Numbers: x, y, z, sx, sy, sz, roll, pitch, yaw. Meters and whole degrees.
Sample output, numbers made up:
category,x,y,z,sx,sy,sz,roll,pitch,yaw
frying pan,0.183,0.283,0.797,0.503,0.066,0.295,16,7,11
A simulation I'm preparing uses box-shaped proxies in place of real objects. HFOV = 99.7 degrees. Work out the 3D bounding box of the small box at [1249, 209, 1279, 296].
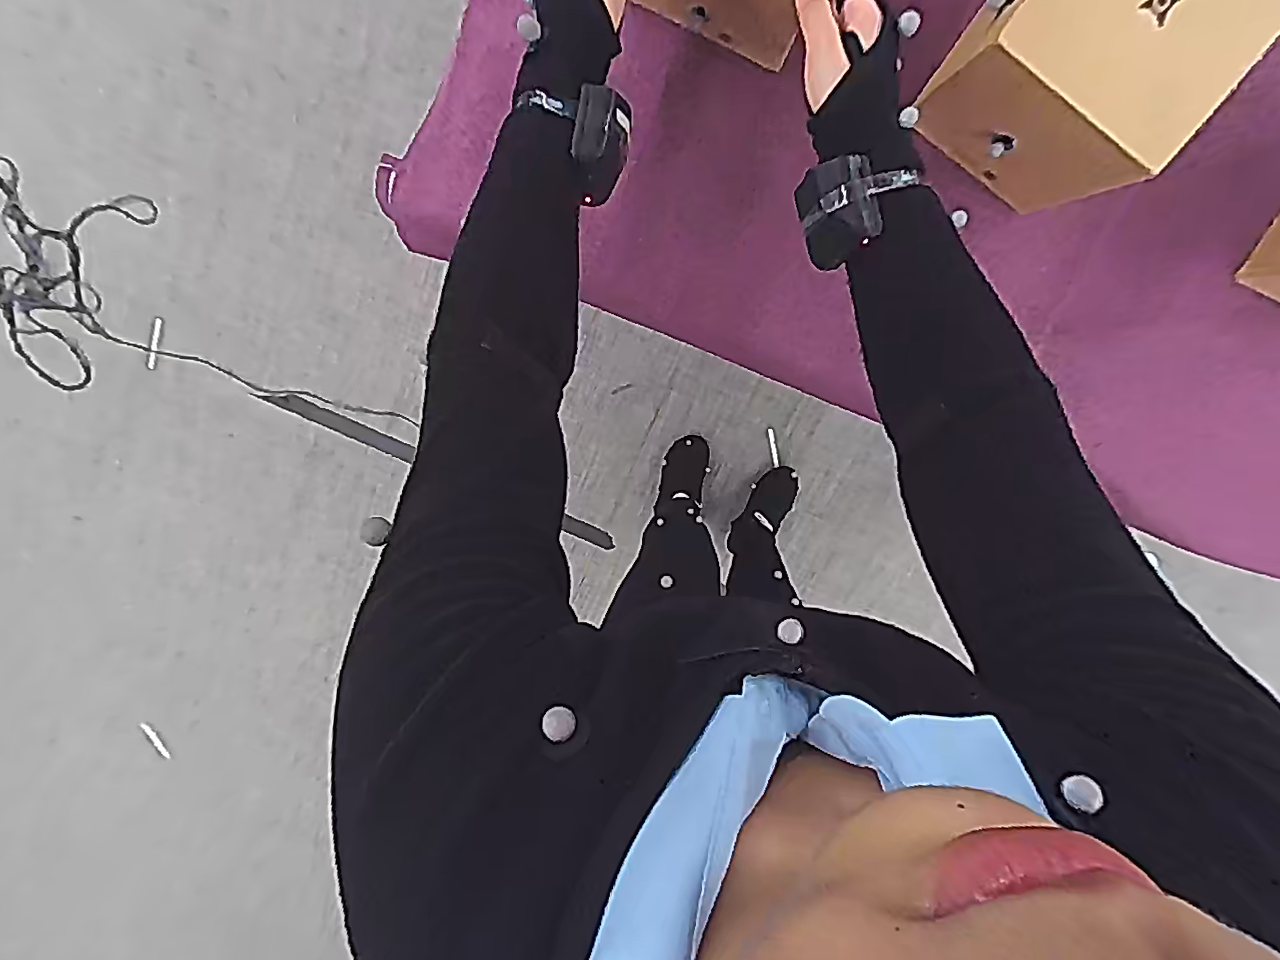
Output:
category,x,y,z,sx,sy,sz,roll,pitch,yaw
small box,0.733,-0.237,0.483,0.168,0.176,0.179,23,105,-3

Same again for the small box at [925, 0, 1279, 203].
category,x,y,z,sx,sy,sz,roll,pitch,yaw
small box,0.380,-0.371,0.461,0.168,0.176,0.179,34,105,-7
